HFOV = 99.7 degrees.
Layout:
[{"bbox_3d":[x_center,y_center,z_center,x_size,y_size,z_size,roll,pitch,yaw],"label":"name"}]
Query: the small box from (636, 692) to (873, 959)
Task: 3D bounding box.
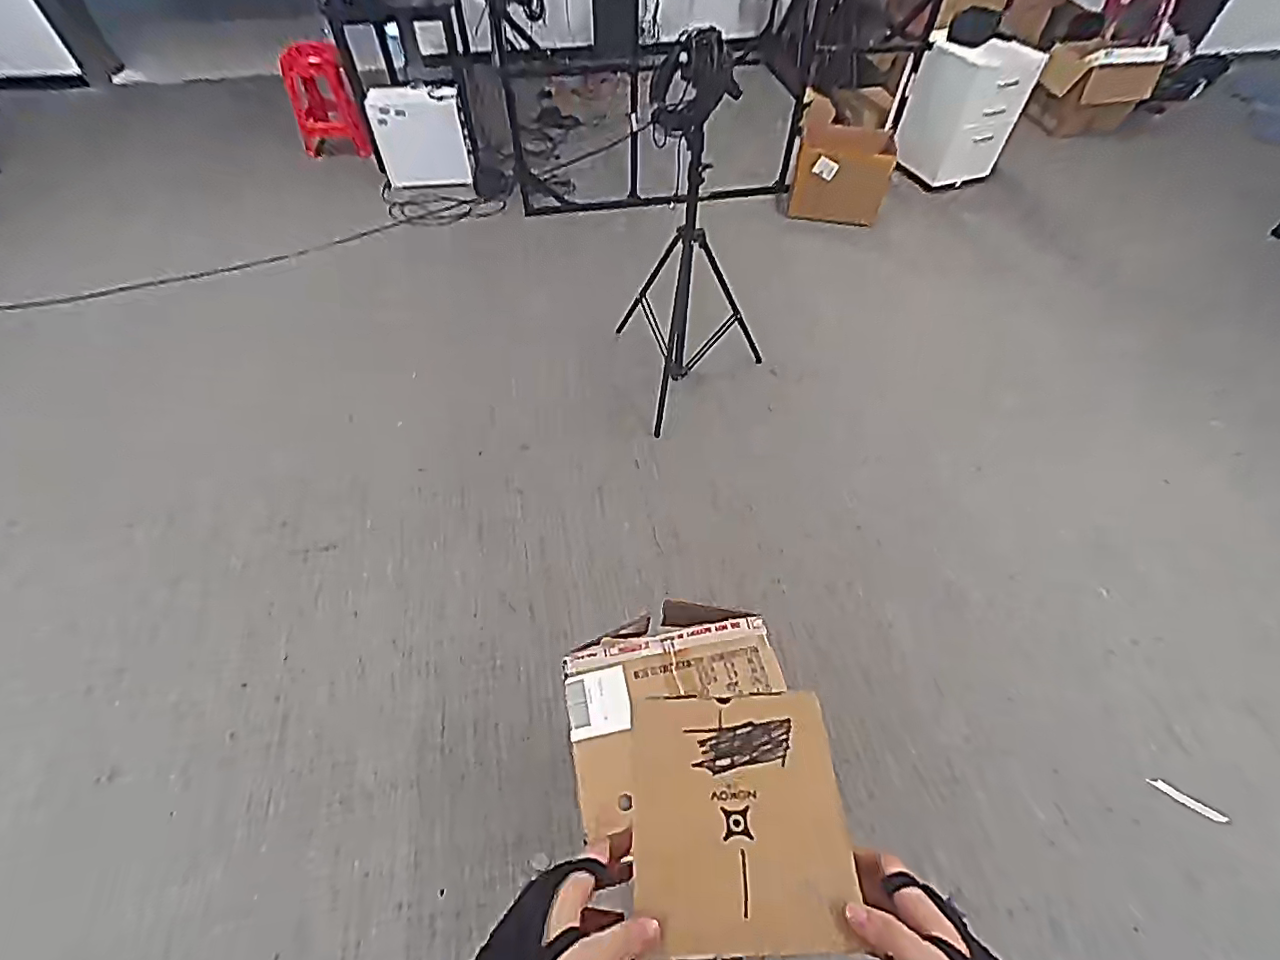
[{"bbox_3d":[0.081,0.306,0.488,0.168,0.176,0.179,-3,54,1],"label":"small box"}]
